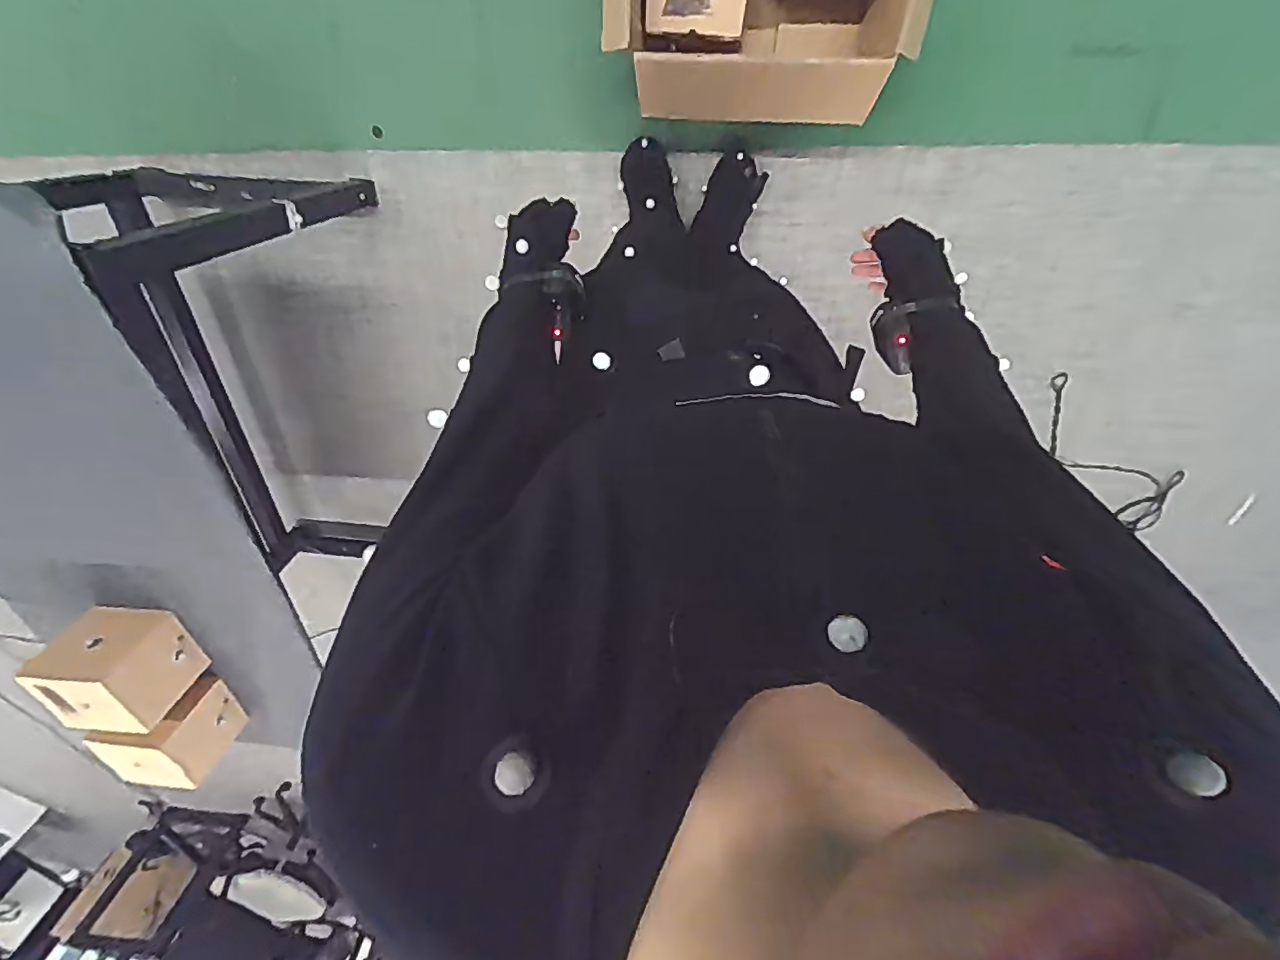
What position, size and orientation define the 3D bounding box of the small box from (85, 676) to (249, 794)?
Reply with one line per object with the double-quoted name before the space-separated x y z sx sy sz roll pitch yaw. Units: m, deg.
"small box" -1.018 0.552 1.183 0.179 0.176 0.168 4 125 5
